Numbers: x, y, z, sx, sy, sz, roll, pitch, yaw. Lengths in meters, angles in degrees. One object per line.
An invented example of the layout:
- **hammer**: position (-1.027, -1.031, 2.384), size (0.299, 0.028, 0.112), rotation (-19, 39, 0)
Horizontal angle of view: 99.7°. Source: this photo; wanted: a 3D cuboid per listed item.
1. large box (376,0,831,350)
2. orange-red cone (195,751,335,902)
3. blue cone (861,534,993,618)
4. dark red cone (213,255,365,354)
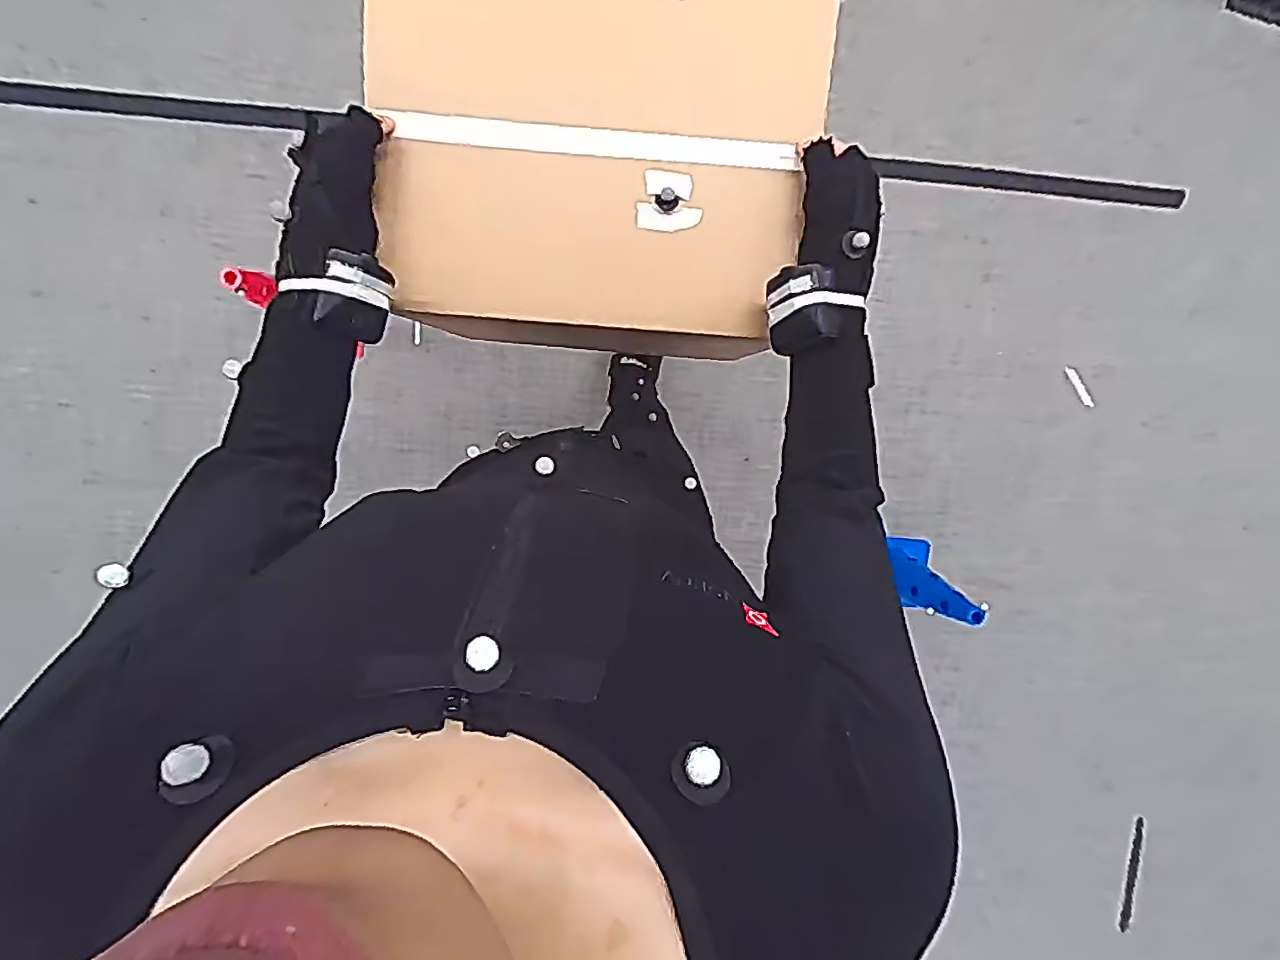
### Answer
- **large box**: position (-0.042, -0.333, 0.633), size (0.408, 0.320, 0.320), rotation (4, 99, -3)
- **orange-red cone**: position (-0.945, 0.872, 1.336), size (0.198, 0.360, 0.199), rotation (2, 98, -2)
- **blue cone**: position (0.739, 0.267, 1.373), size (0.192, 0.380, 0.193), rotation (7, 96, -5)
- **dark red cone**: position (-0.777, -0.408, 1.175), size (0.201, 0.394, 0.202), rotation (10, 96, -5)
